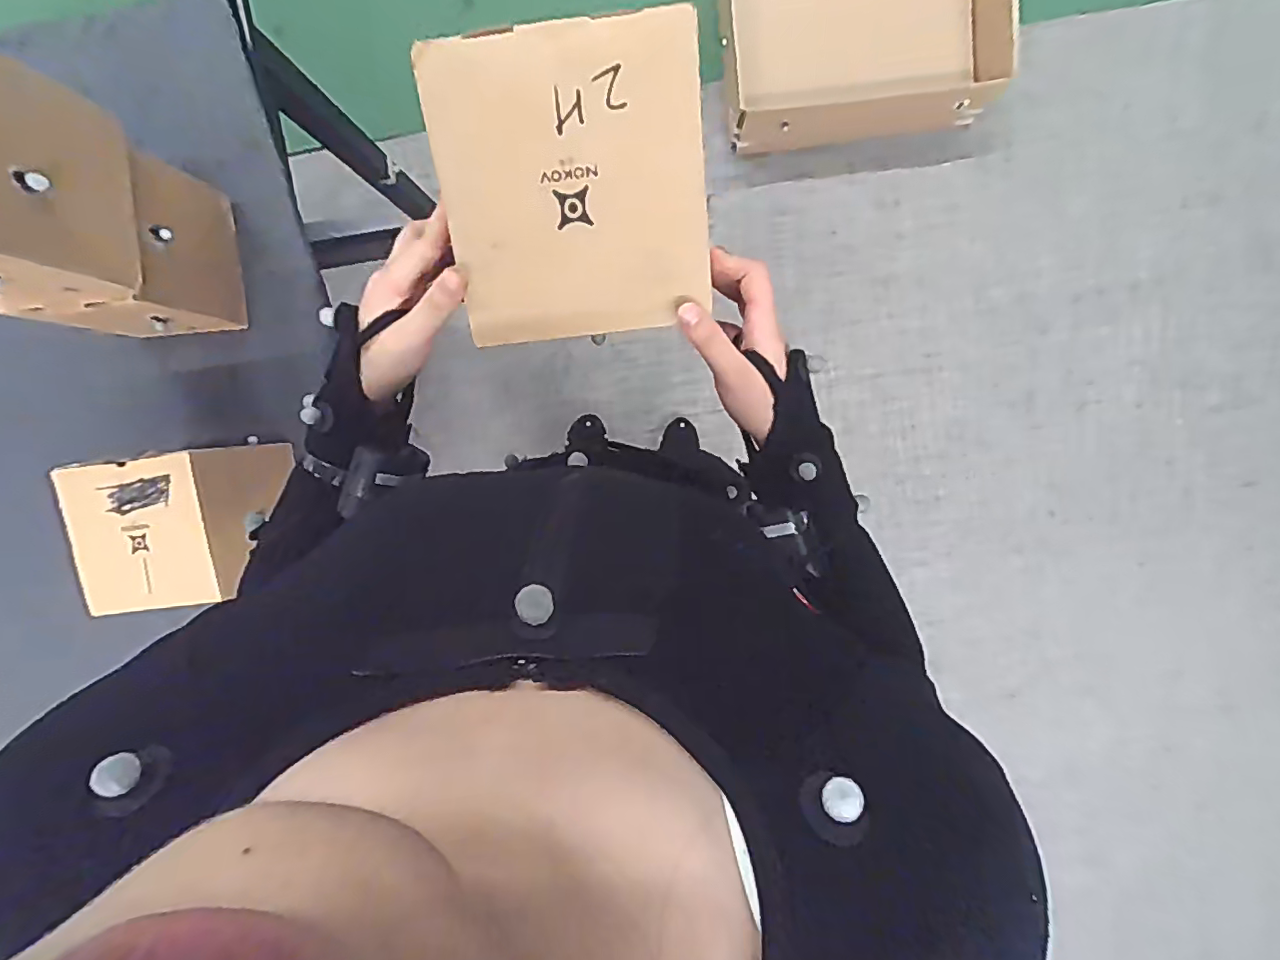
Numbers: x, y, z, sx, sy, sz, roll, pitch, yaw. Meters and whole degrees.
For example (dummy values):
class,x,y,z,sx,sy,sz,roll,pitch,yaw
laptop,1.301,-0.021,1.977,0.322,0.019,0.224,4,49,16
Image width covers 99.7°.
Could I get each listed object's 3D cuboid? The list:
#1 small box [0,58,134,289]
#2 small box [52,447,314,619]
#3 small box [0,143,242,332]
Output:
class,x,y,z,sx,sy,sz,roll,pitch,yaw
small box,-0.604,-0.272,0.477,0.168,0.176,0.179,-1,97,2
small box,-0.549,0.054,0.676,0.168,0.176,0.179,-7,98,4
small box,-0.615,-0.277,0.641,0.168,0.176,0.179,-4,95,2
